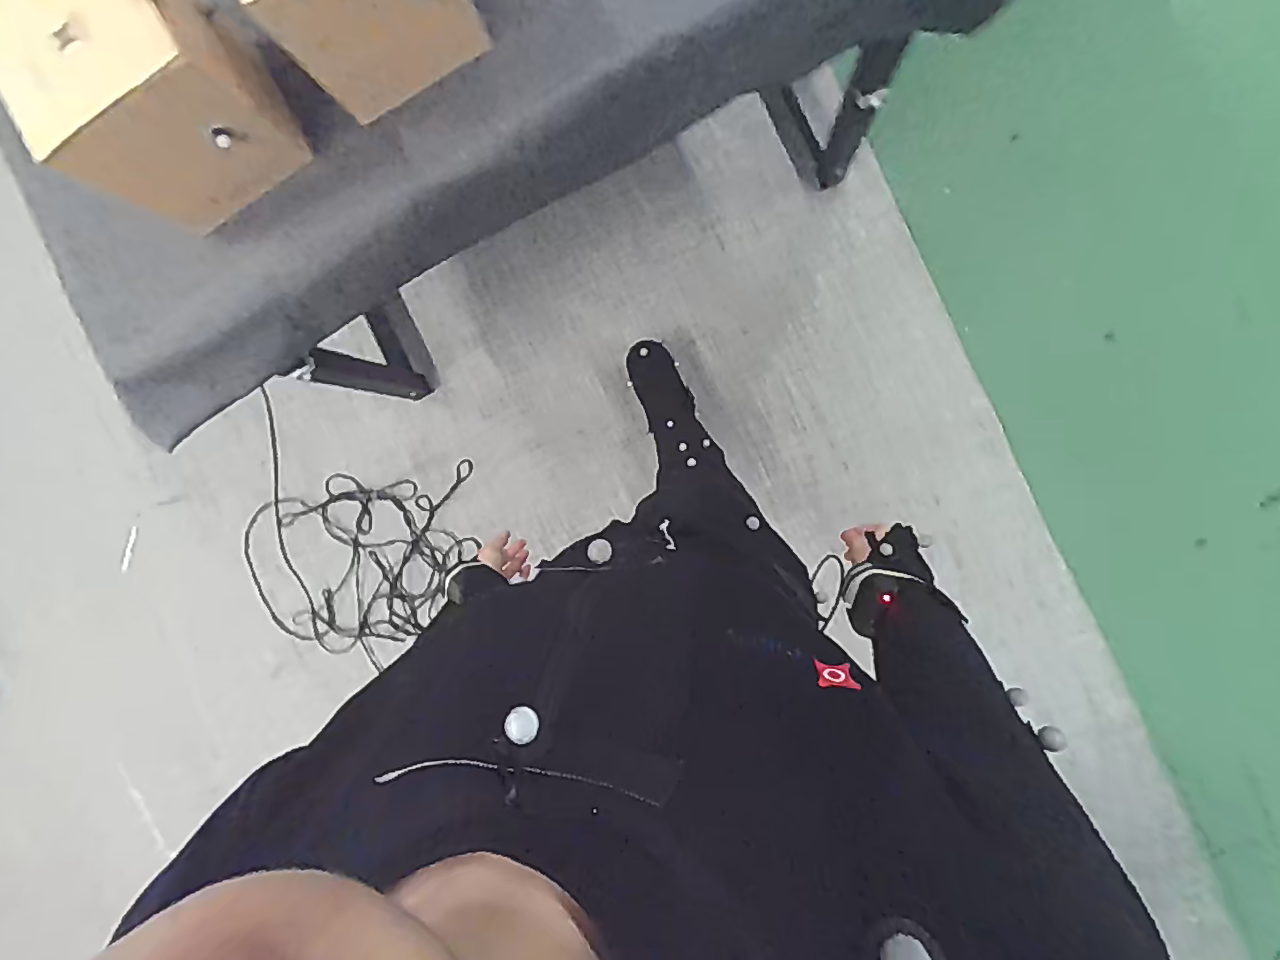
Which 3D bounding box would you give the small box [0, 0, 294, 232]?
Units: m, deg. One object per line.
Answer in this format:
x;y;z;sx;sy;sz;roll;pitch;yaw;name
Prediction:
-0.506;-0.401;0.564;0.179;0.176;0.168;-30;88;8;small box
